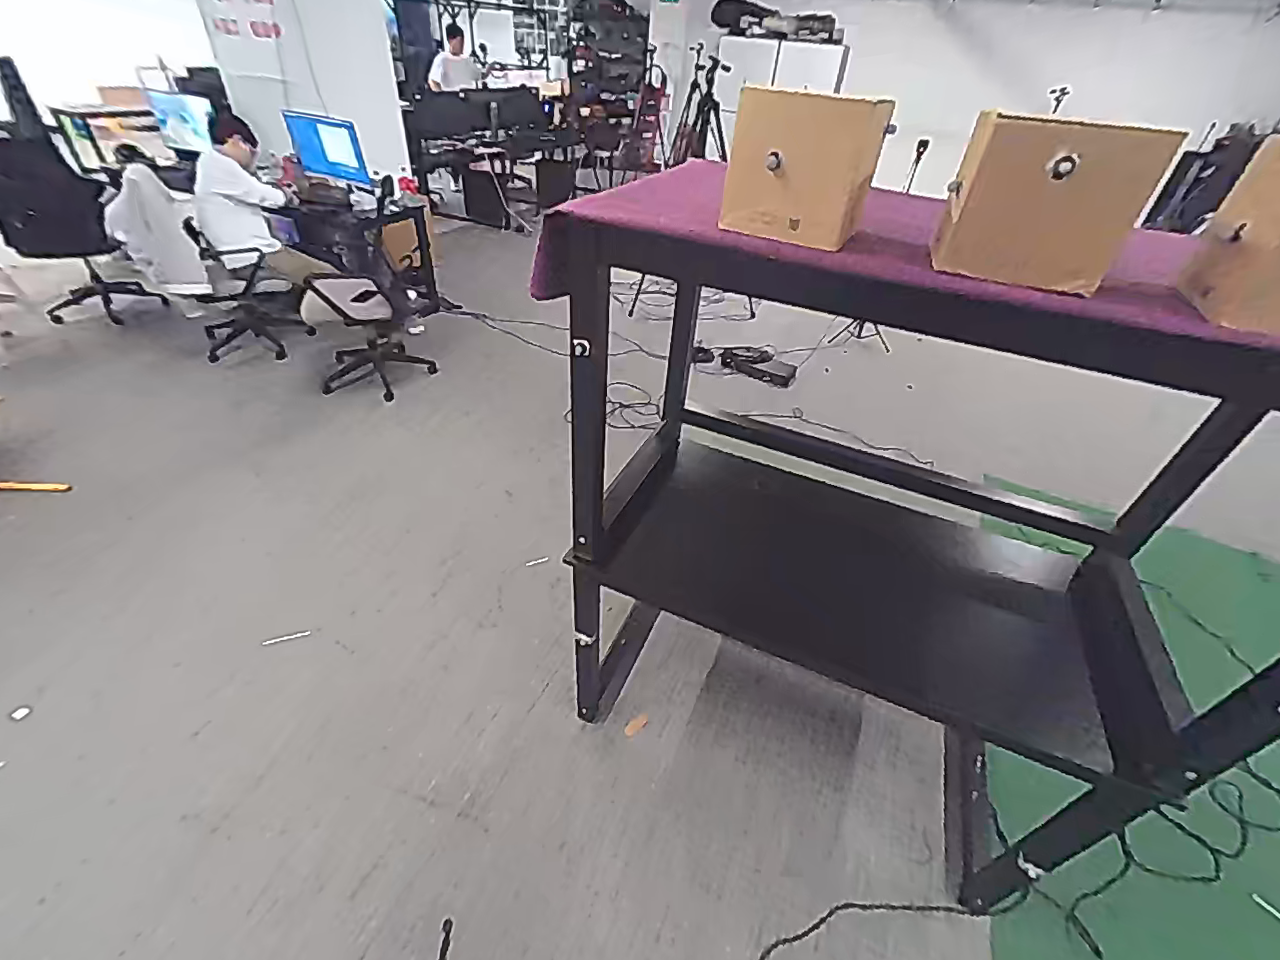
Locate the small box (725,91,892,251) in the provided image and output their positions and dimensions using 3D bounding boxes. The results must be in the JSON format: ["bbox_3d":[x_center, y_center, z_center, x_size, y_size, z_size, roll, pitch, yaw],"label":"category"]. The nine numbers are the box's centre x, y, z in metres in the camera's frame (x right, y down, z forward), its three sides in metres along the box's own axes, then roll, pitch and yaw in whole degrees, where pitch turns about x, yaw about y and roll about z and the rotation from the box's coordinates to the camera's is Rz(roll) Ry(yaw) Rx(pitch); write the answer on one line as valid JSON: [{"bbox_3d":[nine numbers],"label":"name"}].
[{"bbox_3d":[0.226,-0.428,0.747,0.168,0.176,0.179,21,39,19],"label":"small box"}]

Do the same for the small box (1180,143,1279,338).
[{"bbox_3d":[0.735,-0.247,0.573,0.179,0.176,0.168,17,41,17],"label":"small box"}]

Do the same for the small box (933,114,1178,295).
[{"bbox_3d":[0.477,-0.339,0.663,0.179,0.176,0.168,17,39,15],"label":"small box"}]
